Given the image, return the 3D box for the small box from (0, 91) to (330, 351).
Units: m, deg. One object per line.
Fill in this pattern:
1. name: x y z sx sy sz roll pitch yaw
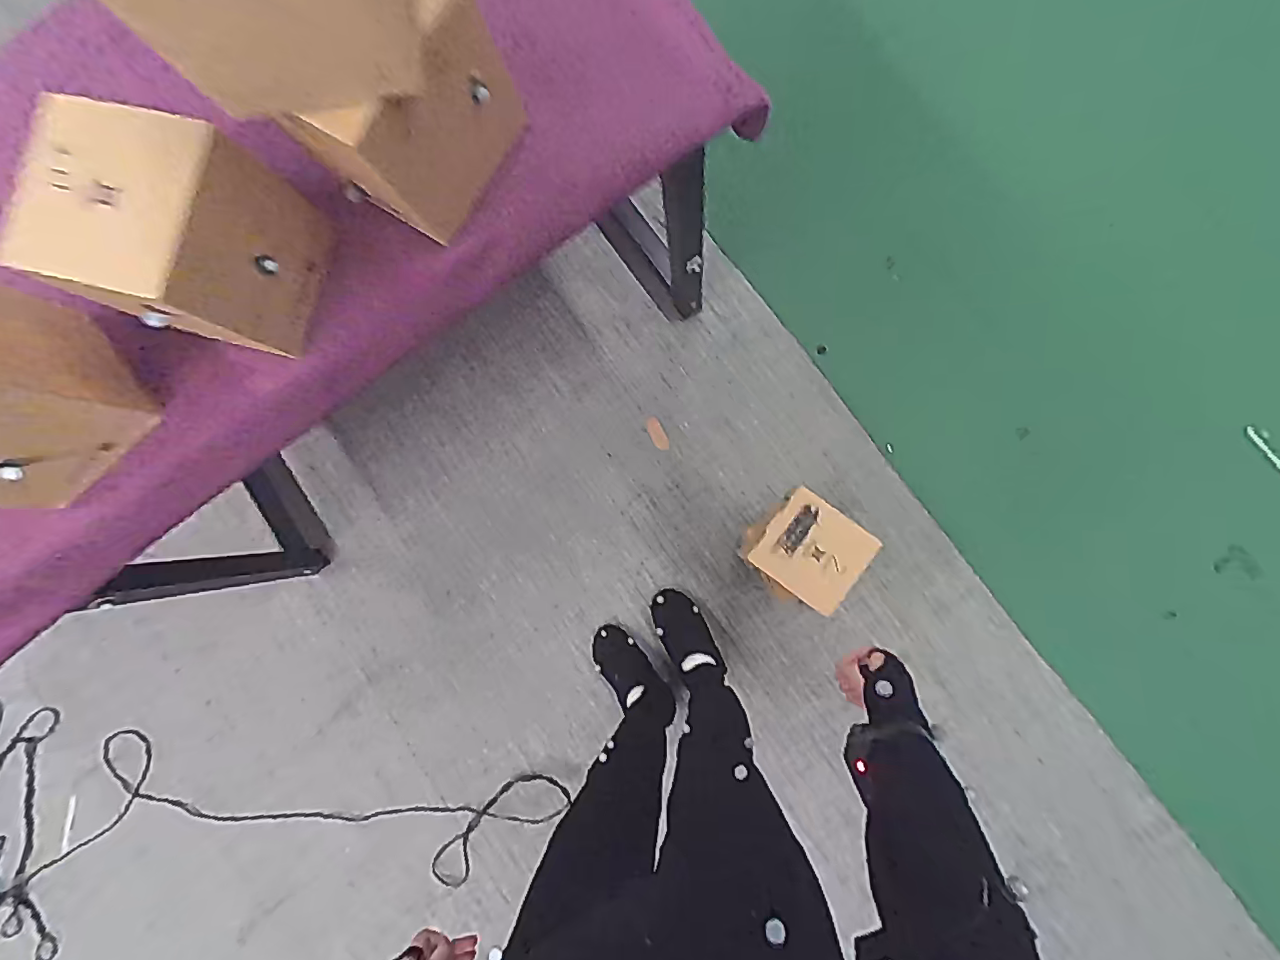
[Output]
1. small box: -0.463 -0.246 0.555 0.179 0.176 0.168 14 86 7

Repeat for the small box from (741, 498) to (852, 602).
1. small box: 0.330 0.149 1.186 0.179 0.176 0.168 -25 84 4

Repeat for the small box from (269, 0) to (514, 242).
1. small box: -0.250 -0.386 0.547 0.168 0.176 0.179 33 90 9

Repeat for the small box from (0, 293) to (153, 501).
1. small box: -0.682 -0.090 0.567 0.168 0.176 0.179 -42 82 1

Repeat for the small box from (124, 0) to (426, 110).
1. small box: -0.276 -0.404 0.386 0.179 0.176 0.168 -3 84 6
